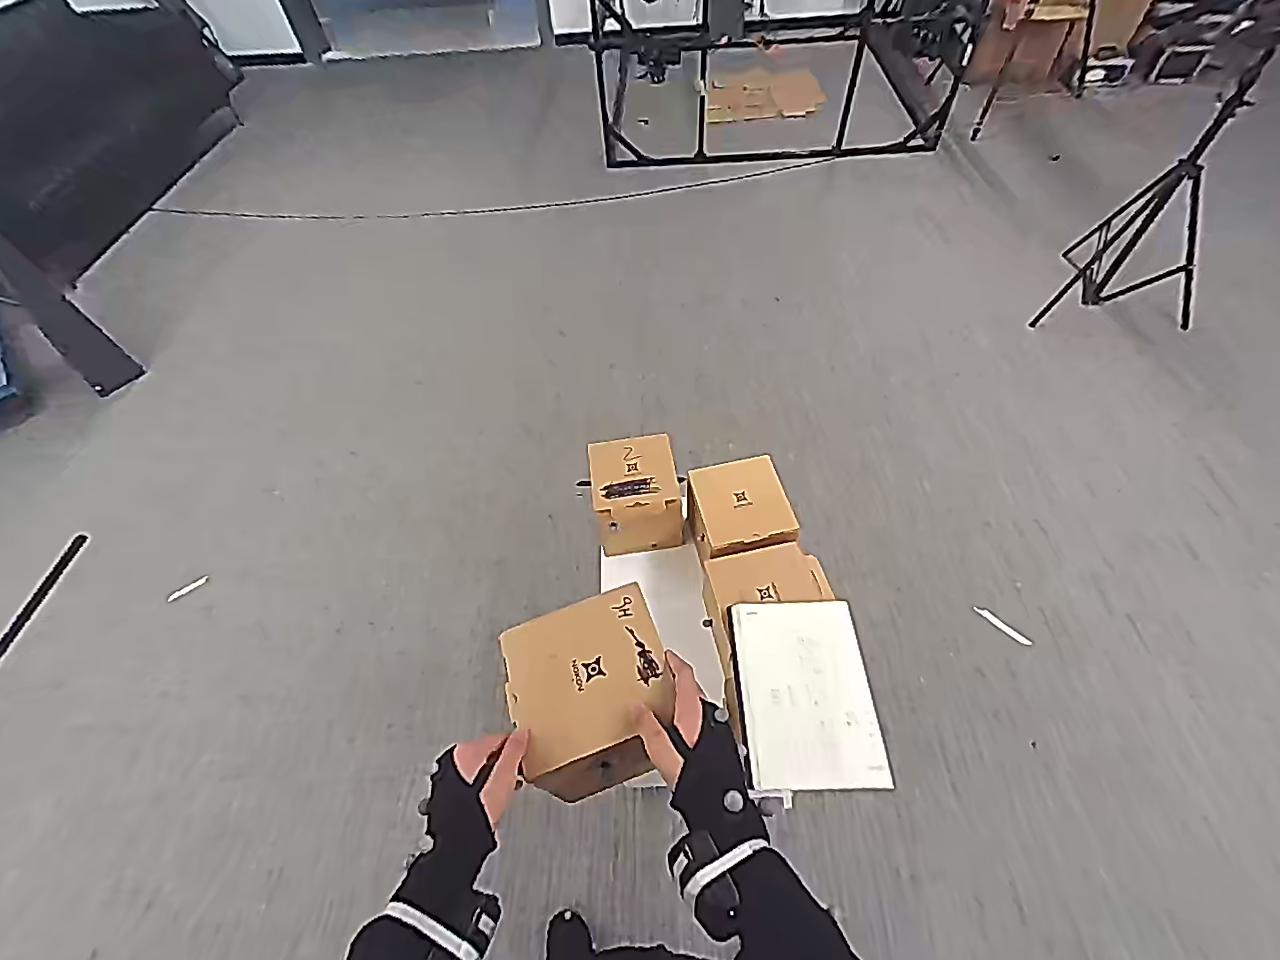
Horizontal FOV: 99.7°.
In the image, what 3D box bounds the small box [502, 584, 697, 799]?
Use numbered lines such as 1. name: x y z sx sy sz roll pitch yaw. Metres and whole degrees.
1. small box: -0.044 0.260 0.652 0.179 0.176 0.168 -20 52 -4
